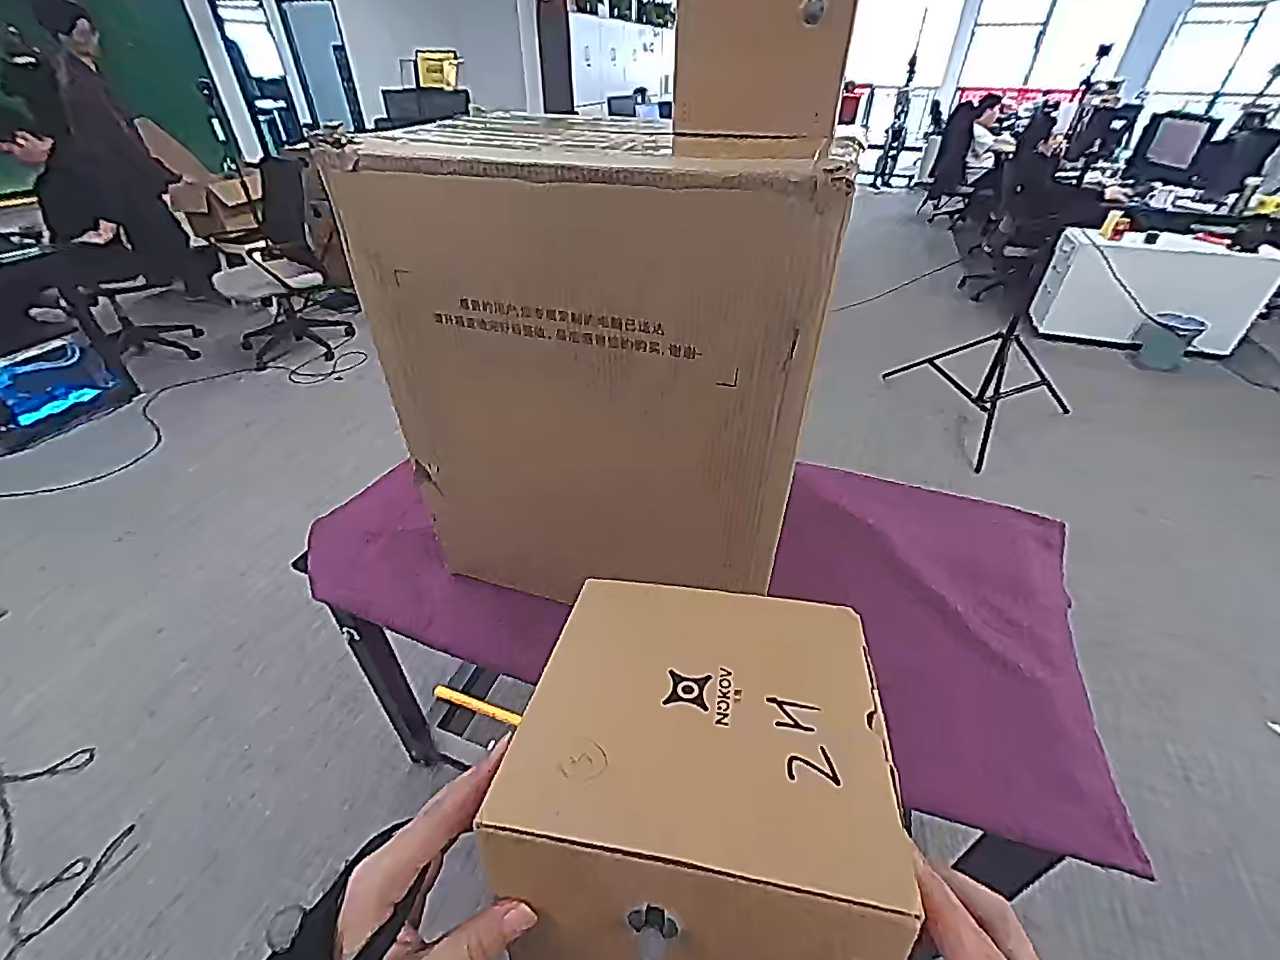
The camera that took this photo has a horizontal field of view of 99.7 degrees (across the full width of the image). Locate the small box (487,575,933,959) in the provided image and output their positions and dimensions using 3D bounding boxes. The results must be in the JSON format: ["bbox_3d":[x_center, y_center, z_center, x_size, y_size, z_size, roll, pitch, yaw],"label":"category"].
[{"bbox_3d":[0.038,0.178,0.310,0.179,0.176,0.168,5,28,11],"label":"small box"}]
